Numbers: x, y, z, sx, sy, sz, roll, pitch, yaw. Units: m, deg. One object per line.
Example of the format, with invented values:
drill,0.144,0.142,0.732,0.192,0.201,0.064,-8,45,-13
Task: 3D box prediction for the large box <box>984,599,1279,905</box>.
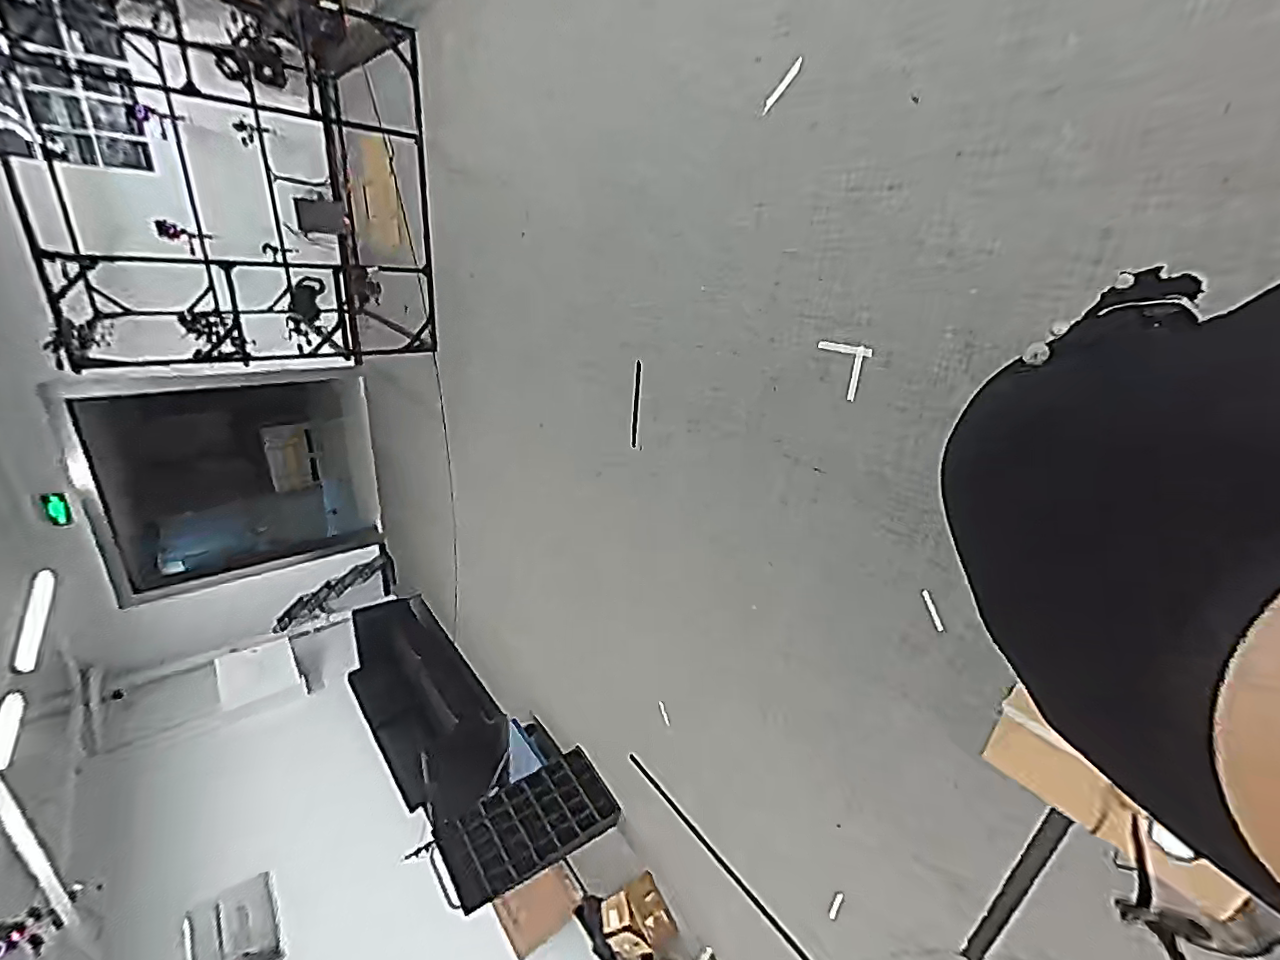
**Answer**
large box,1.017,0.505,1.104,0.408,0.320,0.320,30,124,43
